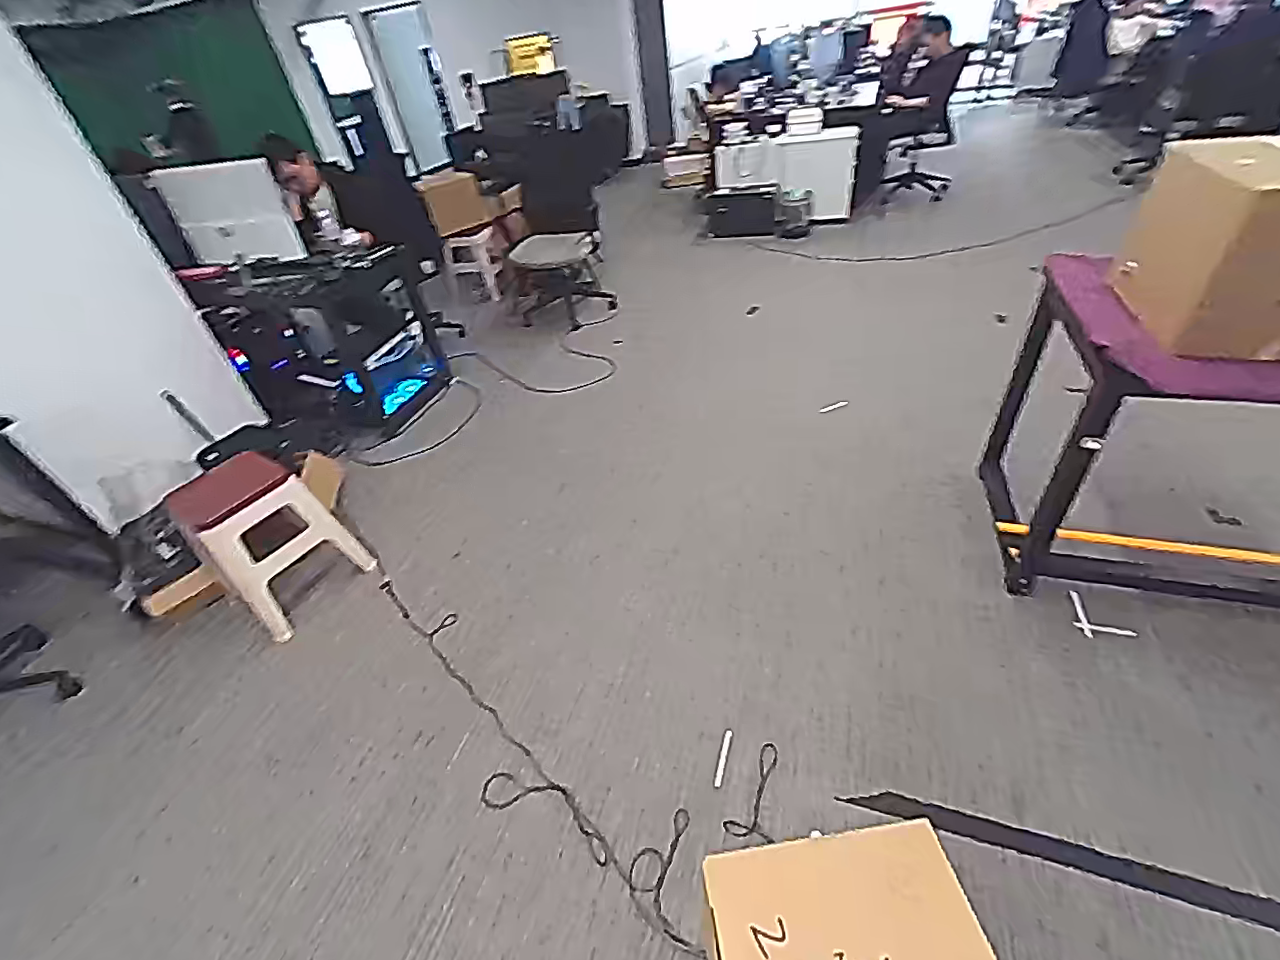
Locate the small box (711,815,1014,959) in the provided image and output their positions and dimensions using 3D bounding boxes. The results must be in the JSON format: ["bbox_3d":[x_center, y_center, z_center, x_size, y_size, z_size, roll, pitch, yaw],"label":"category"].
[{"bbox_3d":[0.151,0.368,0.381,0.179,0.176,0.168,-7,38,-2],"label":"small box"}]
